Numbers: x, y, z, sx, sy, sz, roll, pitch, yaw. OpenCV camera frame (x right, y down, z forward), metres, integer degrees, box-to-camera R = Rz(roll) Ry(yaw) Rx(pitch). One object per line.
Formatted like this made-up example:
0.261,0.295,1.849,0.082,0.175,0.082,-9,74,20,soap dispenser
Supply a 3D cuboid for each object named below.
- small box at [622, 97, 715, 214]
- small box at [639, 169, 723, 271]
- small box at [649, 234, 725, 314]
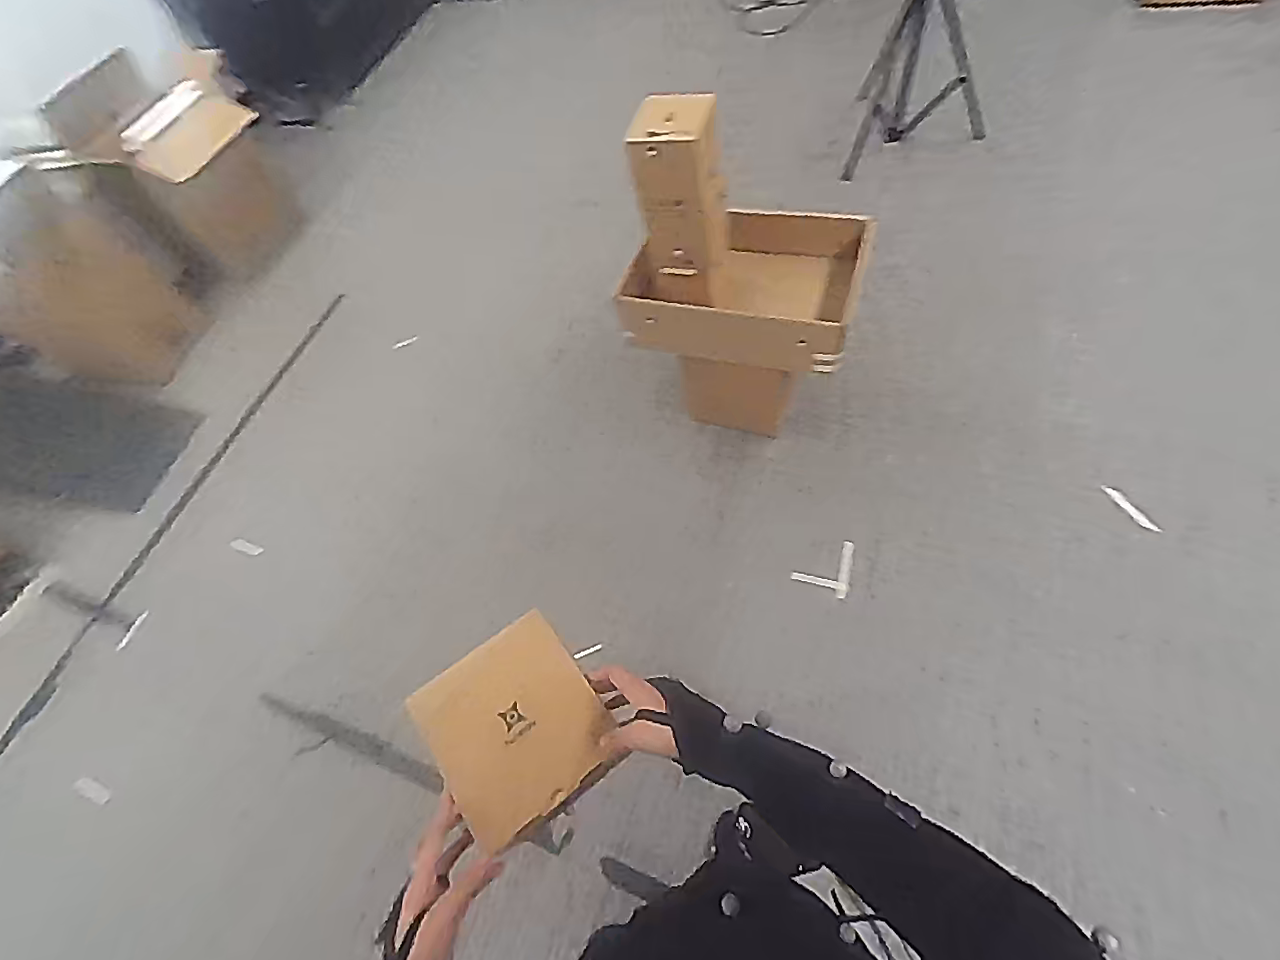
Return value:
0.075,-0.748,1.251,0.168,0.176,0.179,10,63,19,small box
0.113,-0.667,1.389,0.168,0.176,0.179,10,65,19,small box
0.141,-0.594,1.534,0.168,0.176,0.179,12,64,19,small box
